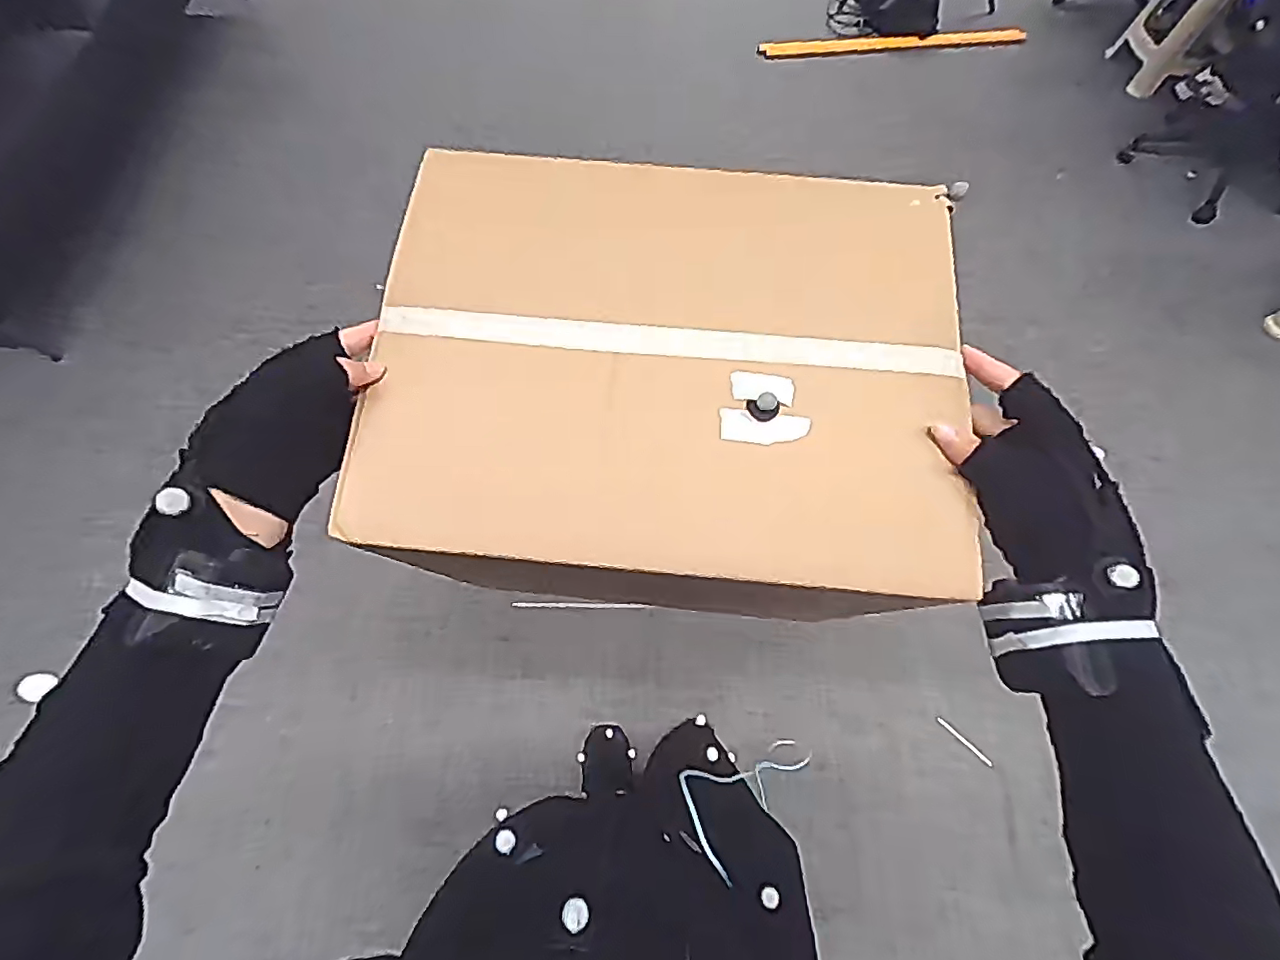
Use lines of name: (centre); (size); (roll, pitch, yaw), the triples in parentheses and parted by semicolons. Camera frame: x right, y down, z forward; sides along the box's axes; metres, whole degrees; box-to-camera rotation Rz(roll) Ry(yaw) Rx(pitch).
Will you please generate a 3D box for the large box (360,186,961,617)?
large box: (0.020, -0.042, 0.538); (0.408, 0.320, 0.320); (4, 73, 2)
